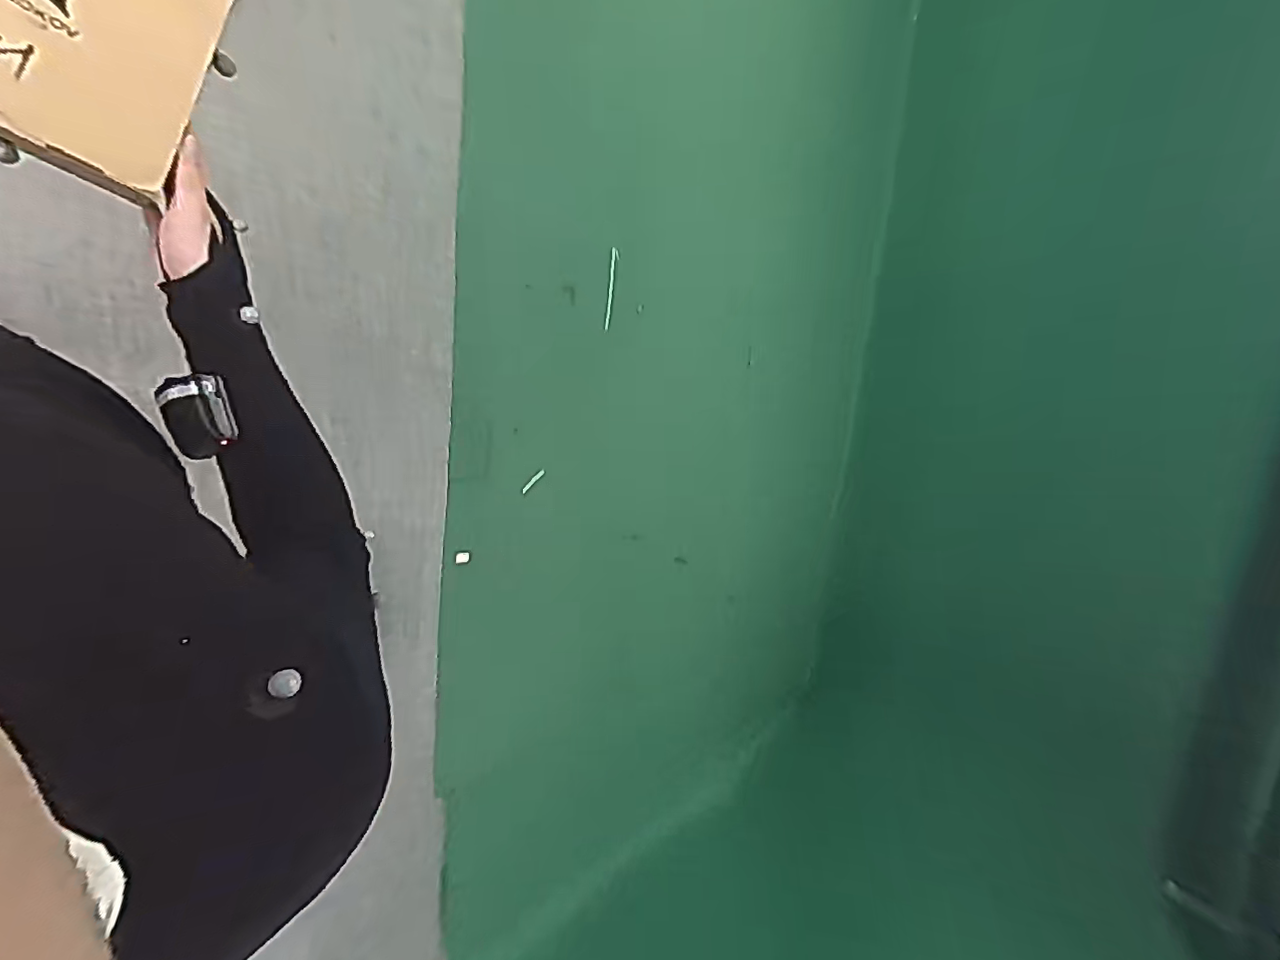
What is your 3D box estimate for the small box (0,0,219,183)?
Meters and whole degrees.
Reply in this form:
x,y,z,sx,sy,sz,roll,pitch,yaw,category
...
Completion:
x,y,z,sx,sy,sz,roll,pitch,yaw,category
-0.445,-0.350,0.396,0.168,0.176,0.179,21,93,-49,small box
